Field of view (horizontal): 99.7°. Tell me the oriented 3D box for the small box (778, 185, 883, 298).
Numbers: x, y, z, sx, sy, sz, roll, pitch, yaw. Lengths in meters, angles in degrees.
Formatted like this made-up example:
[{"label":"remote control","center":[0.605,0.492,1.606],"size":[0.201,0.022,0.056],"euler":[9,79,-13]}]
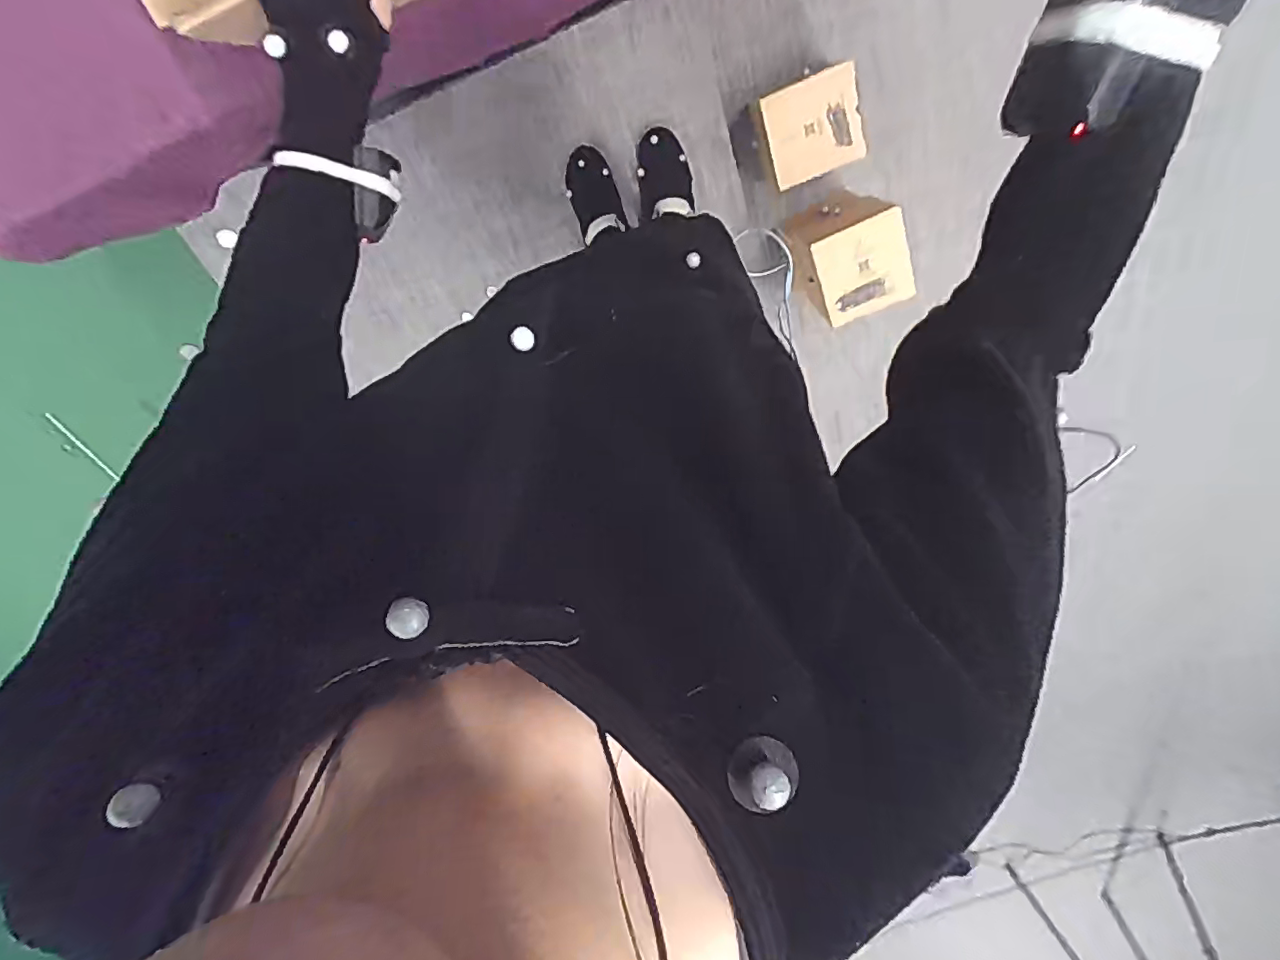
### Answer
[{"label":"small box","center":[0.424,-0.543,1.228],"size":[0.179,0.176,0.168],"euler":[-20,122,15]}]
